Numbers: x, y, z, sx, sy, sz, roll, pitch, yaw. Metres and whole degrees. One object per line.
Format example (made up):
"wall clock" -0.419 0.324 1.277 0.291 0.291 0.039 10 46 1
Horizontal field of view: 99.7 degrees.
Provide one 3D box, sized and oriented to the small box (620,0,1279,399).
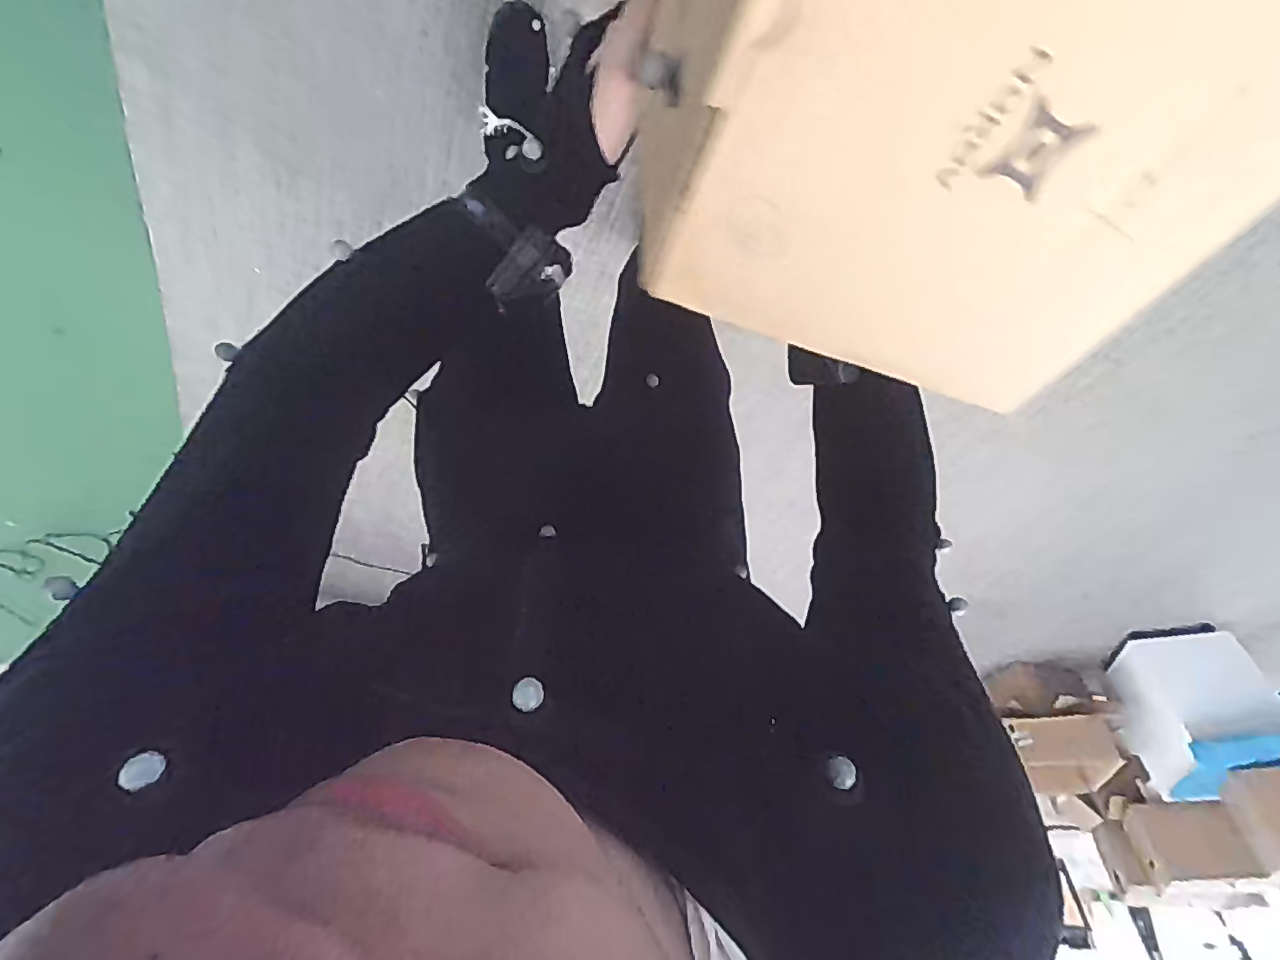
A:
"small box" 0.100 -0.163 0.204 0.179 0.176 0.168 12 140 -16
